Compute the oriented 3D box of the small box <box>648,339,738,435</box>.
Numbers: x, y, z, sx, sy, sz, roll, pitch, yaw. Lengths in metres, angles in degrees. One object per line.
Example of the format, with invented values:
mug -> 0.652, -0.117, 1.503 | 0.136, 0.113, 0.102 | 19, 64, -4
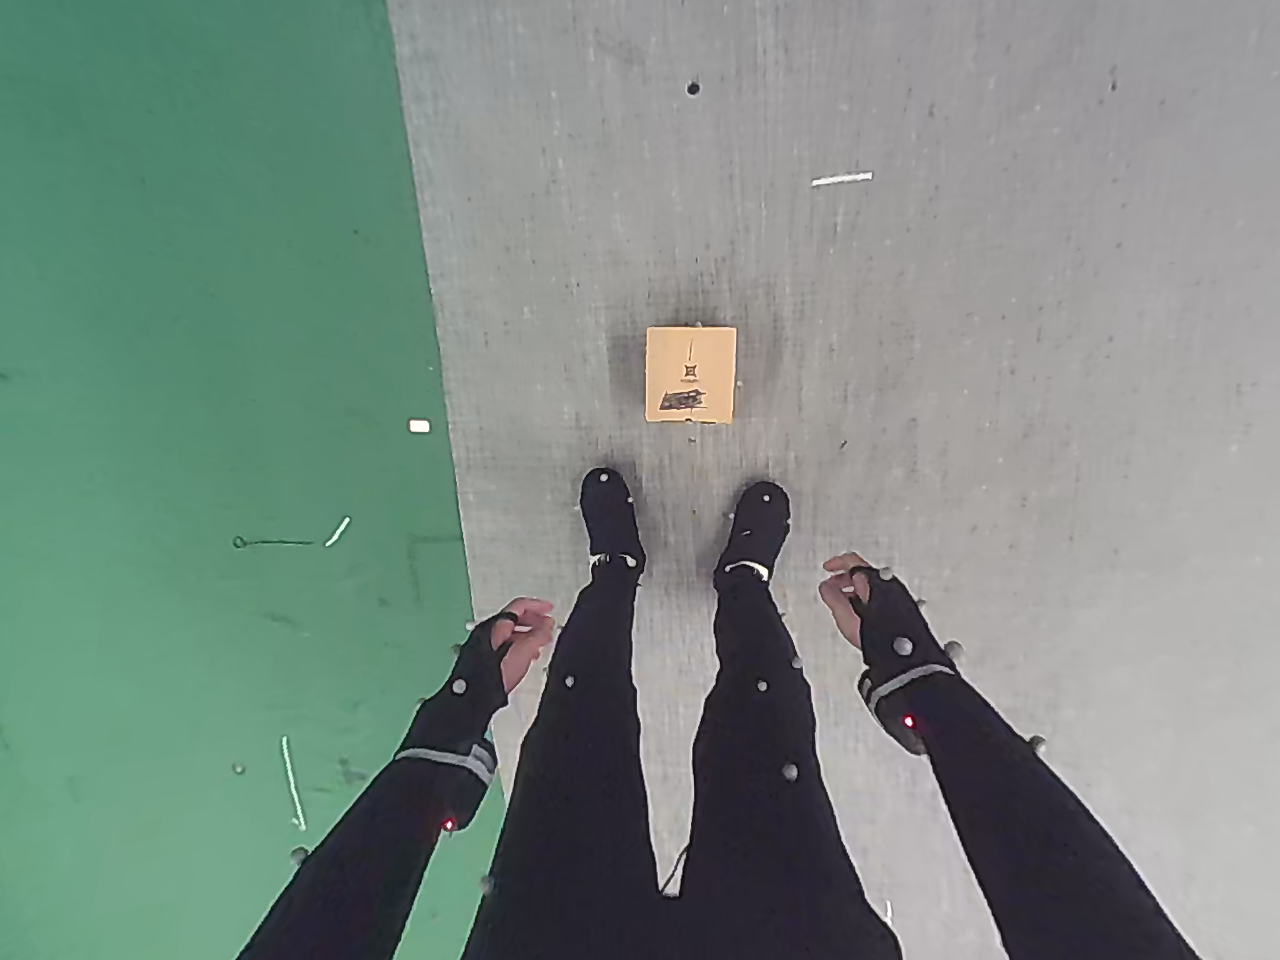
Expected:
small box -> 0.110, -0.190, 1.094 | 0.168, 0.176, 0.179 | 3, 101, 8
